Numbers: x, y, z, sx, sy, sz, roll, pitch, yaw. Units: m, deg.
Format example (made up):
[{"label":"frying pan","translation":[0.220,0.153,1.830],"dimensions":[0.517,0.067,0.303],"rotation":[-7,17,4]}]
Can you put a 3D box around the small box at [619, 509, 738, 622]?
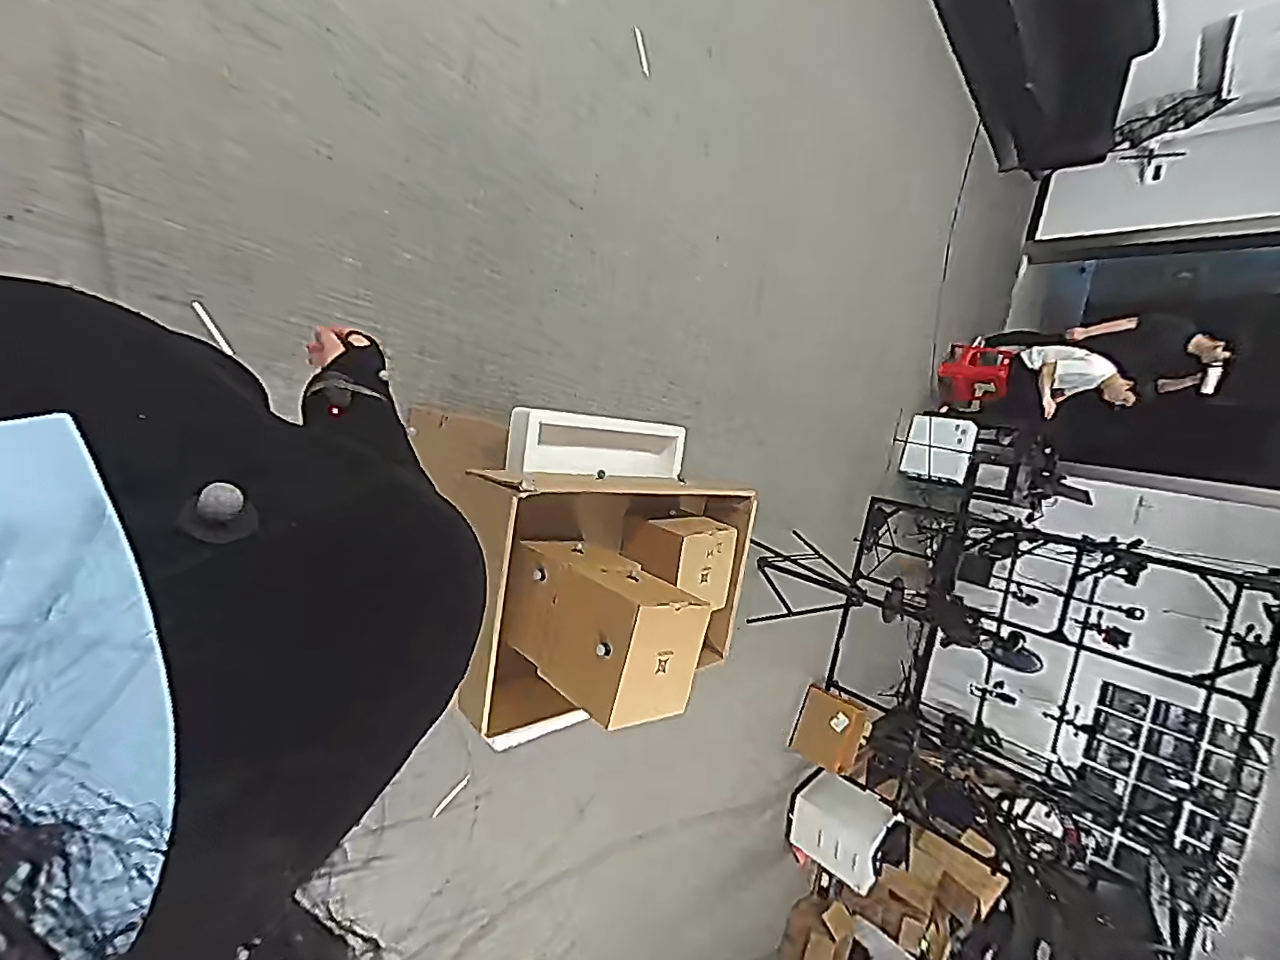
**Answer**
[{"label":"small box","translation":[0.074,0.168,1.121],"dimensions":[0.168,0.176,0.179],"rotation":[-1,103,-44]}]
